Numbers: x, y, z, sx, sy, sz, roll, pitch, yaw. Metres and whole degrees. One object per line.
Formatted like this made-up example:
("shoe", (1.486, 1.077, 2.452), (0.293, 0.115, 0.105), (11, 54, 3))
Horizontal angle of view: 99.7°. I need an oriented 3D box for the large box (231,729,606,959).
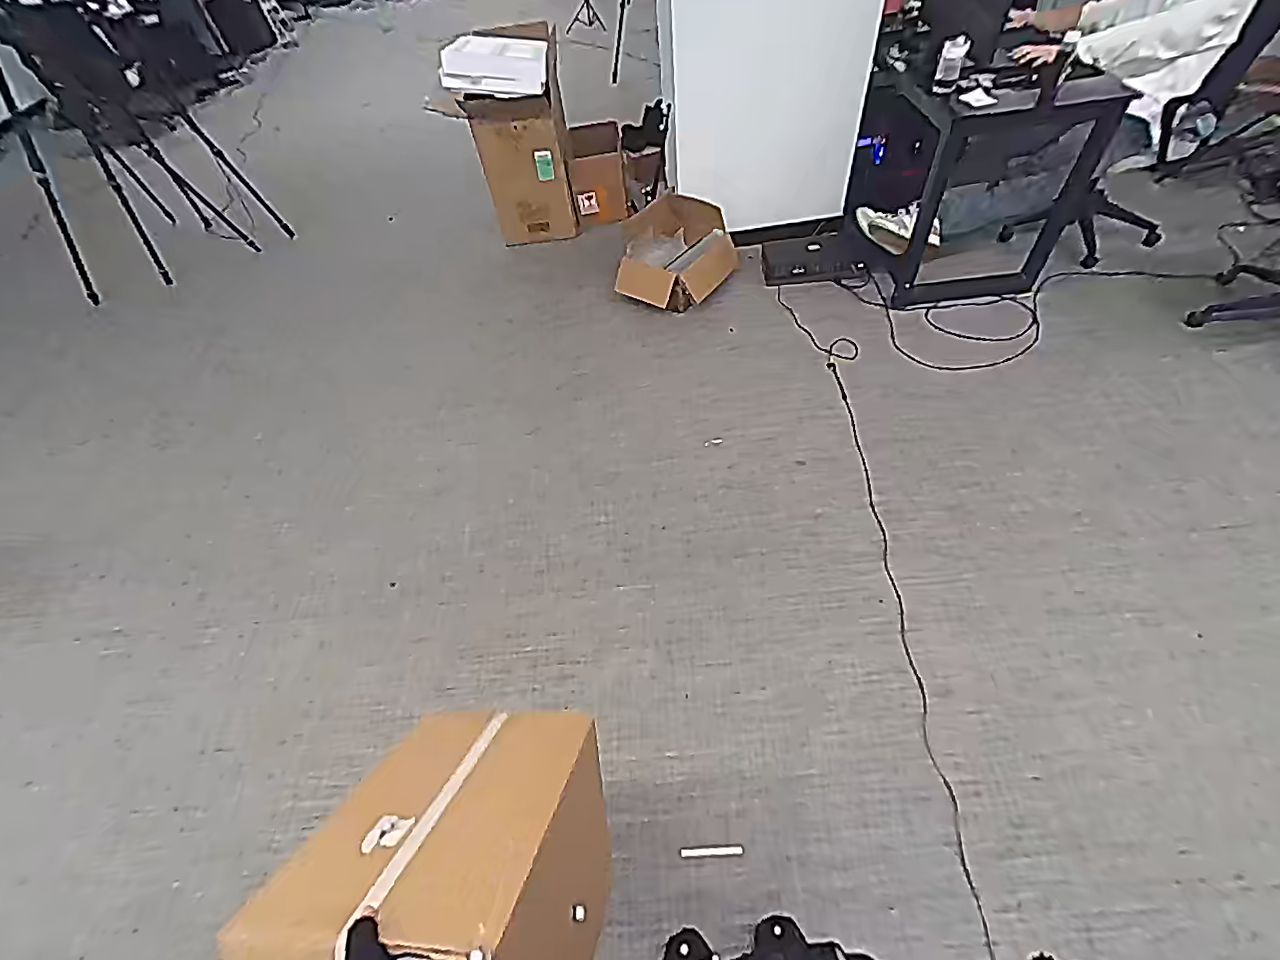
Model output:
("large box", (-0.249, 0.614, 0.765), (0.320, 0.320, 0.408), (-5, 7, 11))
